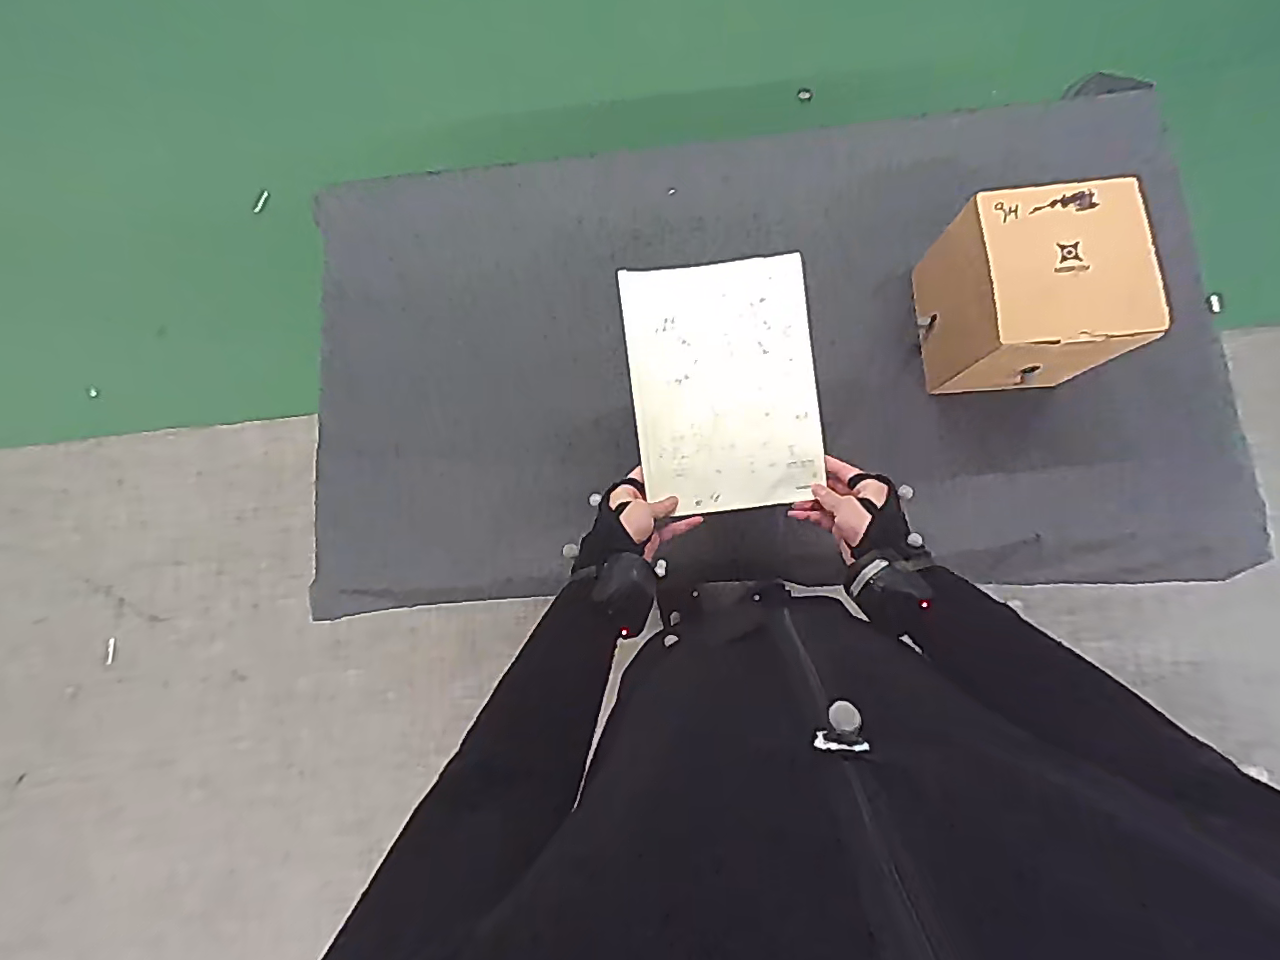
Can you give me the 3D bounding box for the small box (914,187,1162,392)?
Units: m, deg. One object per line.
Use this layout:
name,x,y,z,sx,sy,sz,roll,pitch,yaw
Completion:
small box,0.450,-0.209,0.642,0.168,0.176,0.179,-4,83,3
